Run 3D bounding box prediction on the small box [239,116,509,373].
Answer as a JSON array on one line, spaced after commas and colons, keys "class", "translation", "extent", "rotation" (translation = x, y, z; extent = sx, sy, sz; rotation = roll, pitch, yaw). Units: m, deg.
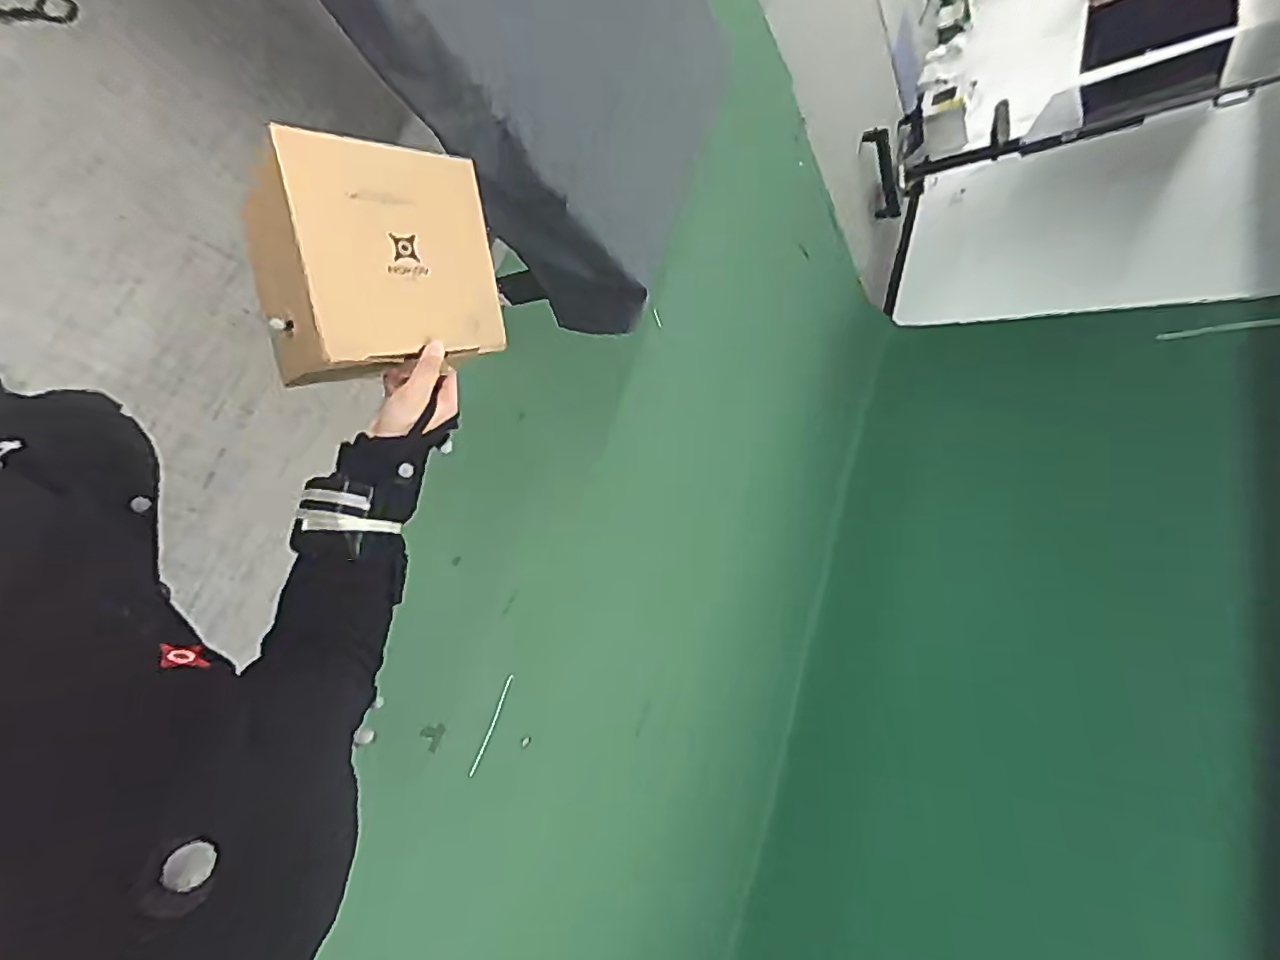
[{"class": "small box", "translation": [-0.255, -0.203, 0.521], "extent": [0.168, 0.176, 0.179], "rotation": [-20, 104, -43]}]
